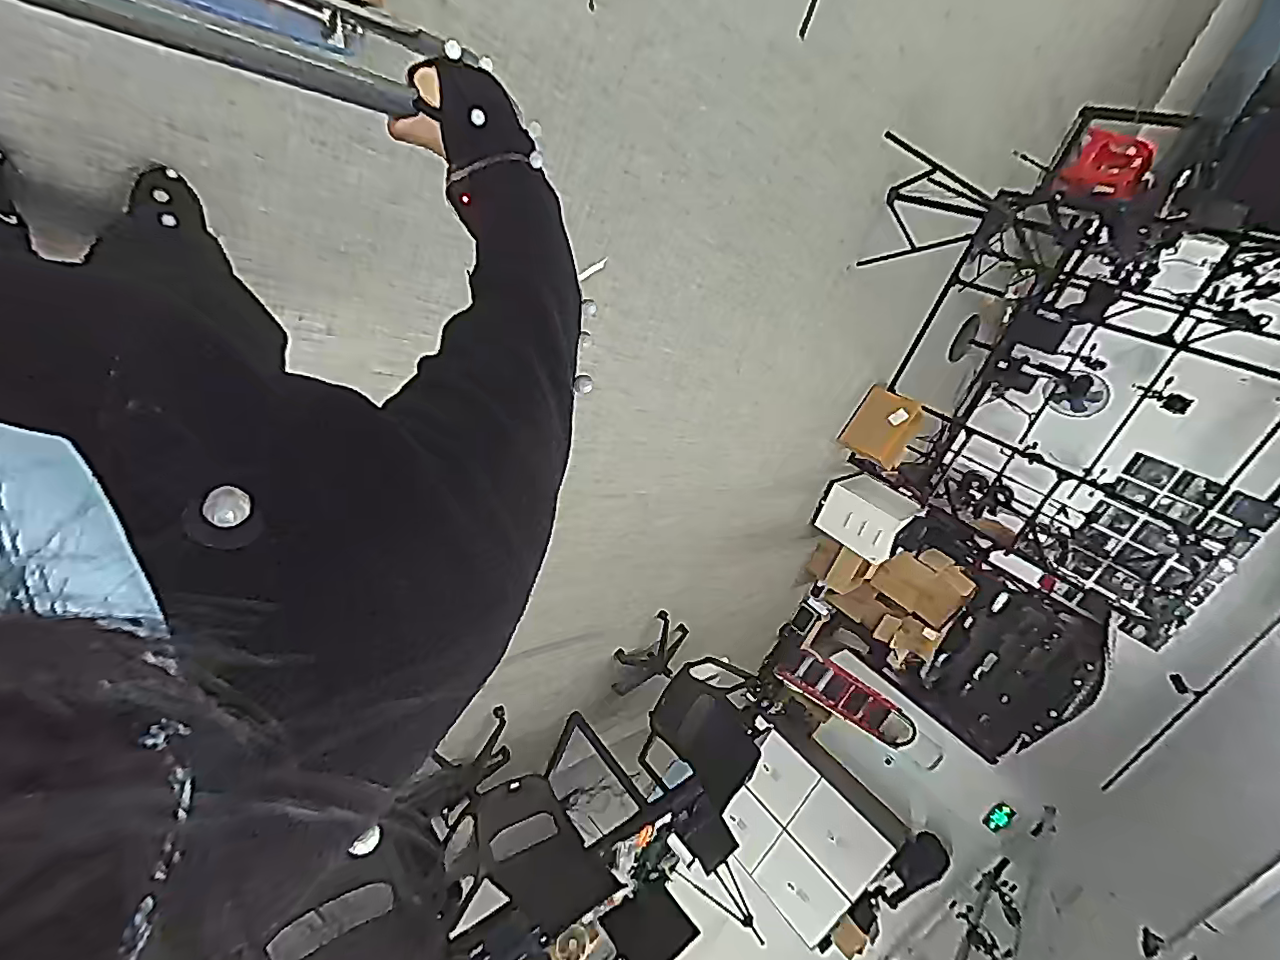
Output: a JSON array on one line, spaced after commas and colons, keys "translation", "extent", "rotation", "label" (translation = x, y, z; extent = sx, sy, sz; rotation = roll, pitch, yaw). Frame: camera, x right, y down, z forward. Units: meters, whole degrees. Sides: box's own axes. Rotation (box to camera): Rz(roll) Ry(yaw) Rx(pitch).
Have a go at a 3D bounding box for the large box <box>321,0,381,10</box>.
[{"translation": [-0.554, -0.818, 0.616], "extent": [0.408, 0.320, 0.320], "rotation": [-13, 133, -44], "label": "large box"}]
